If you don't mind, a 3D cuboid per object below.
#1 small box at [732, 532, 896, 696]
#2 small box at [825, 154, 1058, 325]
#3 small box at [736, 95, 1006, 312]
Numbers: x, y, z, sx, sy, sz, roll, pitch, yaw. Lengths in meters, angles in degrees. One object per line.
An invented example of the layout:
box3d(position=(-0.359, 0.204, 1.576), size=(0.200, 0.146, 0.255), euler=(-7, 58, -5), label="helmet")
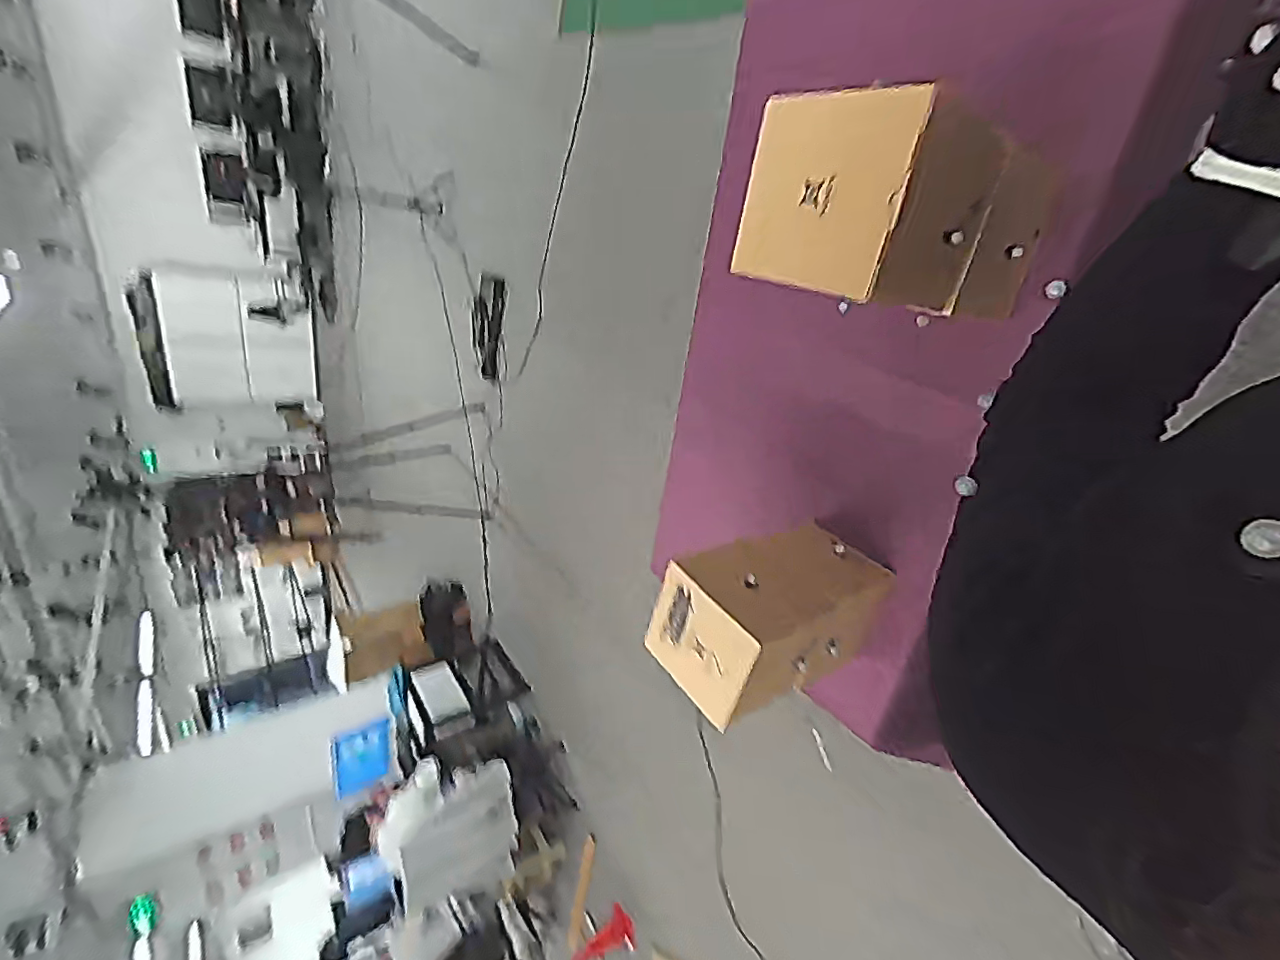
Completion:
box3d(position=(0.282, 0.206, 0.878), size=(0.168, 0.176, 0.179), euler=(36, 124, 42), label="small box")
box3d(position=(0.366, -0.290, 0.664), size=(0.179, 0.176, 0.168), euler=(33, 122, 44), label="small box")
box3d(position=(0.235, -0.276, 0.567), size=(0.179, 0.176, 0.168), euler=(32, 122, 42), label="small box")
